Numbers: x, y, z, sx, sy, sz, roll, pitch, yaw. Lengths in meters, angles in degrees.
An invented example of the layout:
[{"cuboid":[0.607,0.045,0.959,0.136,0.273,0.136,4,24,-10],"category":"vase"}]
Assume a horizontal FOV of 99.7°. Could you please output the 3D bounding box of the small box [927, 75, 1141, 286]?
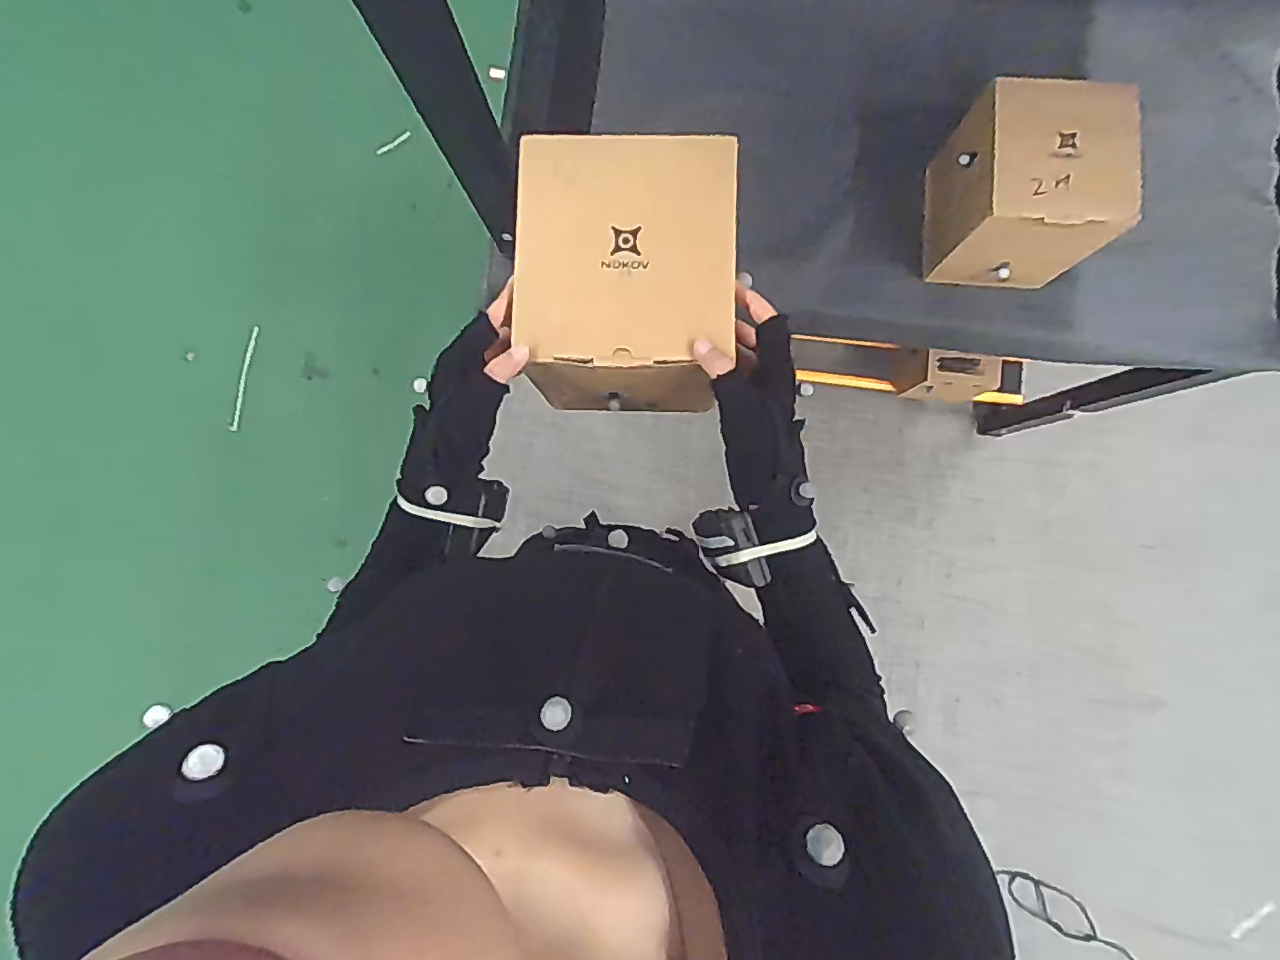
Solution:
[{"cuboid":[0.498,-0.380,0.708,0.168,0.176,0.179,4,84,3],"category":"small box"}]
